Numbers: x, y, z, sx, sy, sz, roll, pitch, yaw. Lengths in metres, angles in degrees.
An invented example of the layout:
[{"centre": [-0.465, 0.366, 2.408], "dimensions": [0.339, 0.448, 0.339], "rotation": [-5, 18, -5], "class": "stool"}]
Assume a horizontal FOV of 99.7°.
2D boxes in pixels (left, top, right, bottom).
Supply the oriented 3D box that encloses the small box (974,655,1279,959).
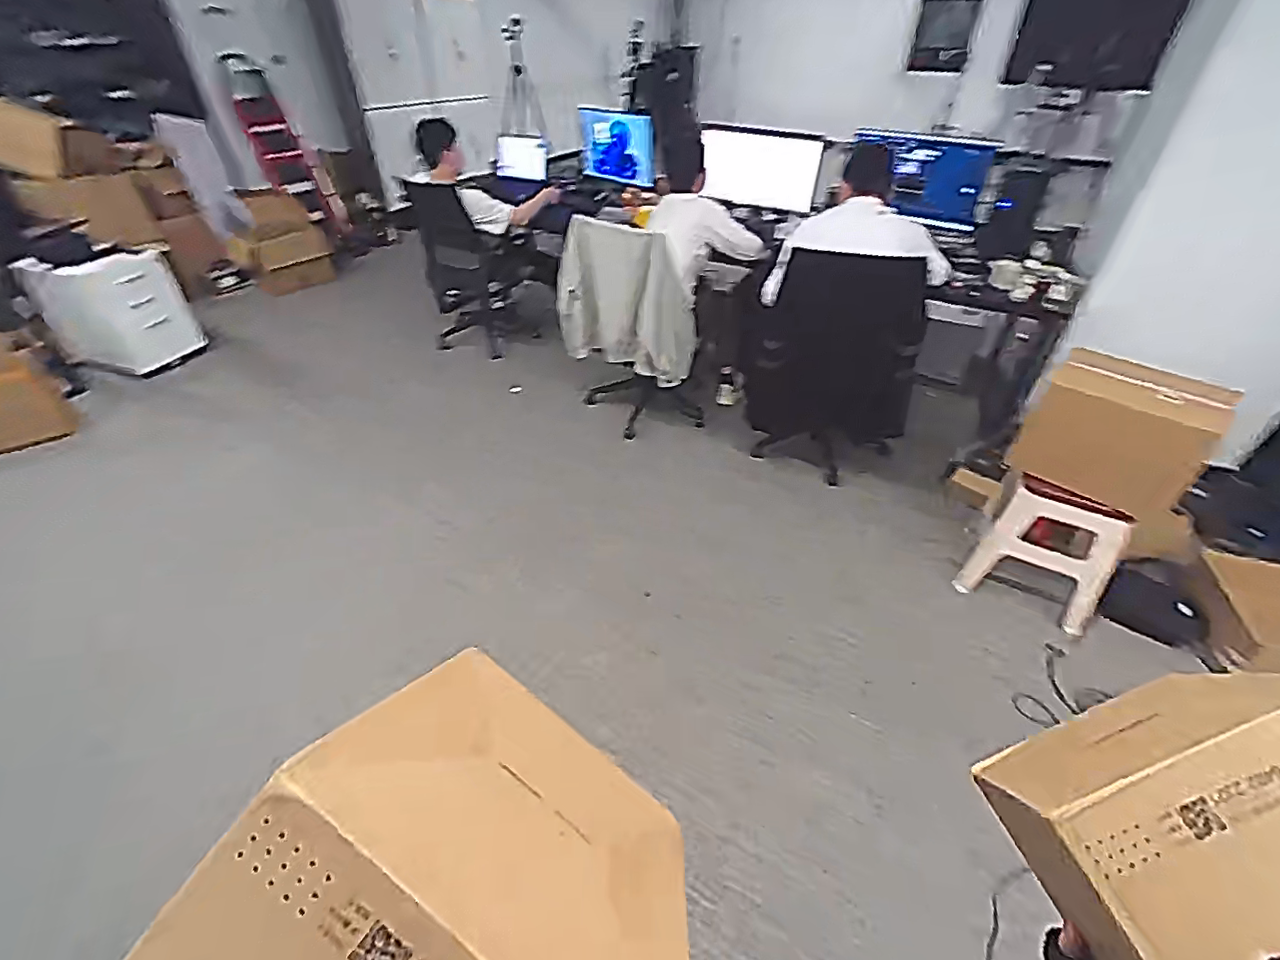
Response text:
[{"centre": [0.333, 0.213, 0.309], "dimensions": [0.168, 0.179, 0.176], "rotation": [-29, 65, 6], "class": "small box"}]
